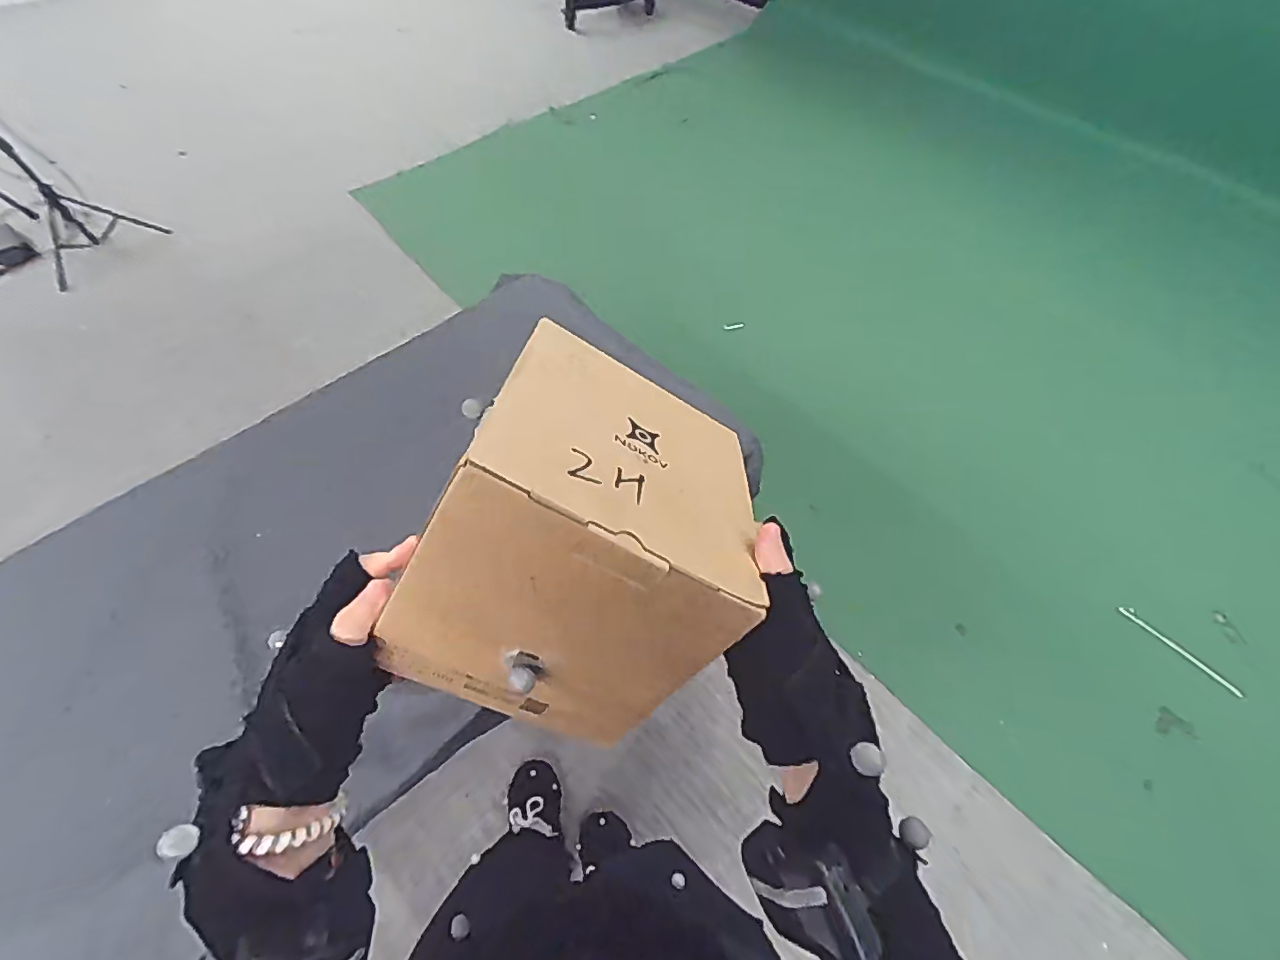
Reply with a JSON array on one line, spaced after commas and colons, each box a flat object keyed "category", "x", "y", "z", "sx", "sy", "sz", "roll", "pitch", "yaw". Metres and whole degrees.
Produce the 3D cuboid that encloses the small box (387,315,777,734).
[{"category": "small box", "x": -0.038, "y": 0.029, "z": 0.359, "sx": 0.168, "sy": 0.176, "sz": 0.179, "roll": 29, "pitch": 32, "yaw": -16}]
